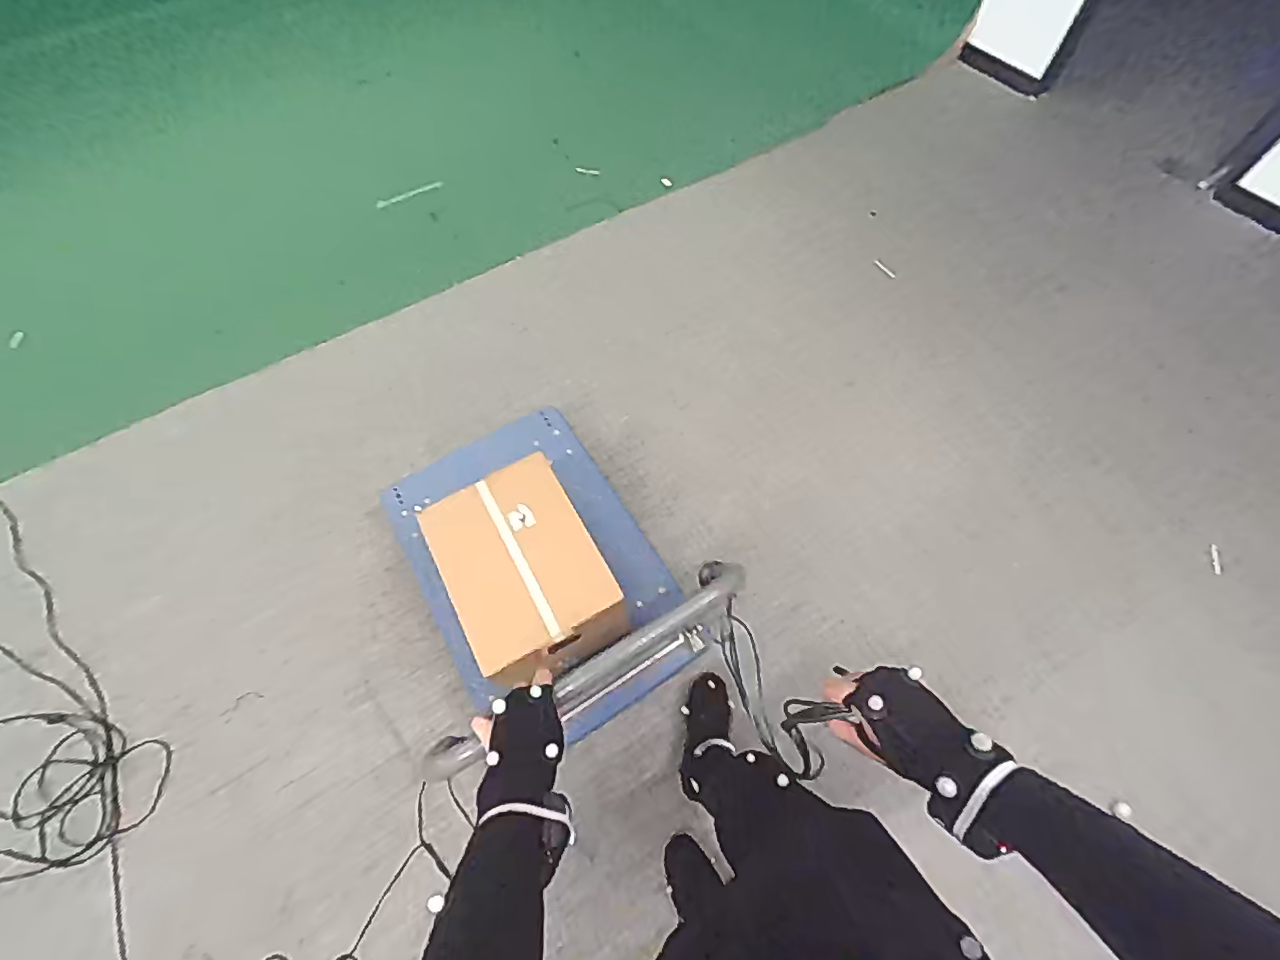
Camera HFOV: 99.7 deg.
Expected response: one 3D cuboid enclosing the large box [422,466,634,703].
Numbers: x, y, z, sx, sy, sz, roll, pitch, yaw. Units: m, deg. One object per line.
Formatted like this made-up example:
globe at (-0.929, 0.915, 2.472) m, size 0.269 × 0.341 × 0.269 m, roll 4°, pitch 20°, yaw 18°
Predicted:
large box at (-0.248, 0.252, 1.281) m, size 0.320 × 0.320 × 0.408 m, roll -28°, pitch 64°, yaw -12°
